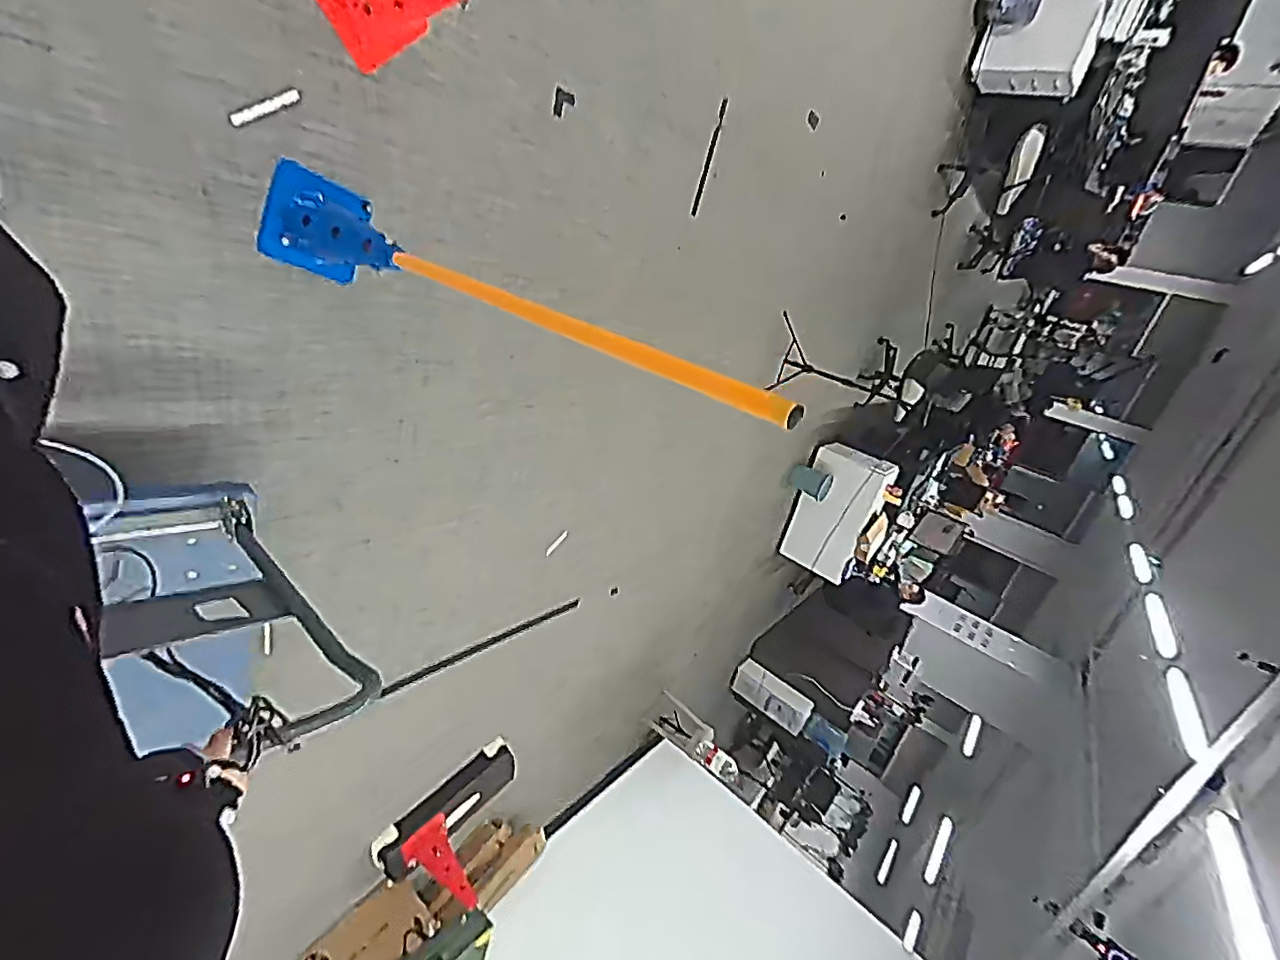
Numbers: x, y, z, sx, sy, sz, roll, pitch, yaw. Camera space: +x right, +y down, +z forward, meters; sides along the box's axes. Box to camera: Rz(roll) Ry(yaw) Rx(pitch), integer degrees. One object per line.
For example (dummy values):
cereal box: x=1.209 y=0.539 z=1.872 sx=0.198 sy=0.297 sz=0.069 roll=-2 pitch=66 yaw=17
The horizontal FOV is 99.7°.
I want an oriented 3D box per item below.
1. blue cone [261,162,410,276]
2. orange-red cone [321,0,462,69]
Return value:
blue cone: x=-0.573 y=-0.486 z=1.076 sx=0.193 sy=0.380 sz=0.192 roll=10 pitch=105 yaw=-57
orange-red cone: x=-0.407 y=-0.884 z=0.972 sx=0.199 sy=0.360 sz=0.198 roll=-49 pitch=145 yaw=-16
